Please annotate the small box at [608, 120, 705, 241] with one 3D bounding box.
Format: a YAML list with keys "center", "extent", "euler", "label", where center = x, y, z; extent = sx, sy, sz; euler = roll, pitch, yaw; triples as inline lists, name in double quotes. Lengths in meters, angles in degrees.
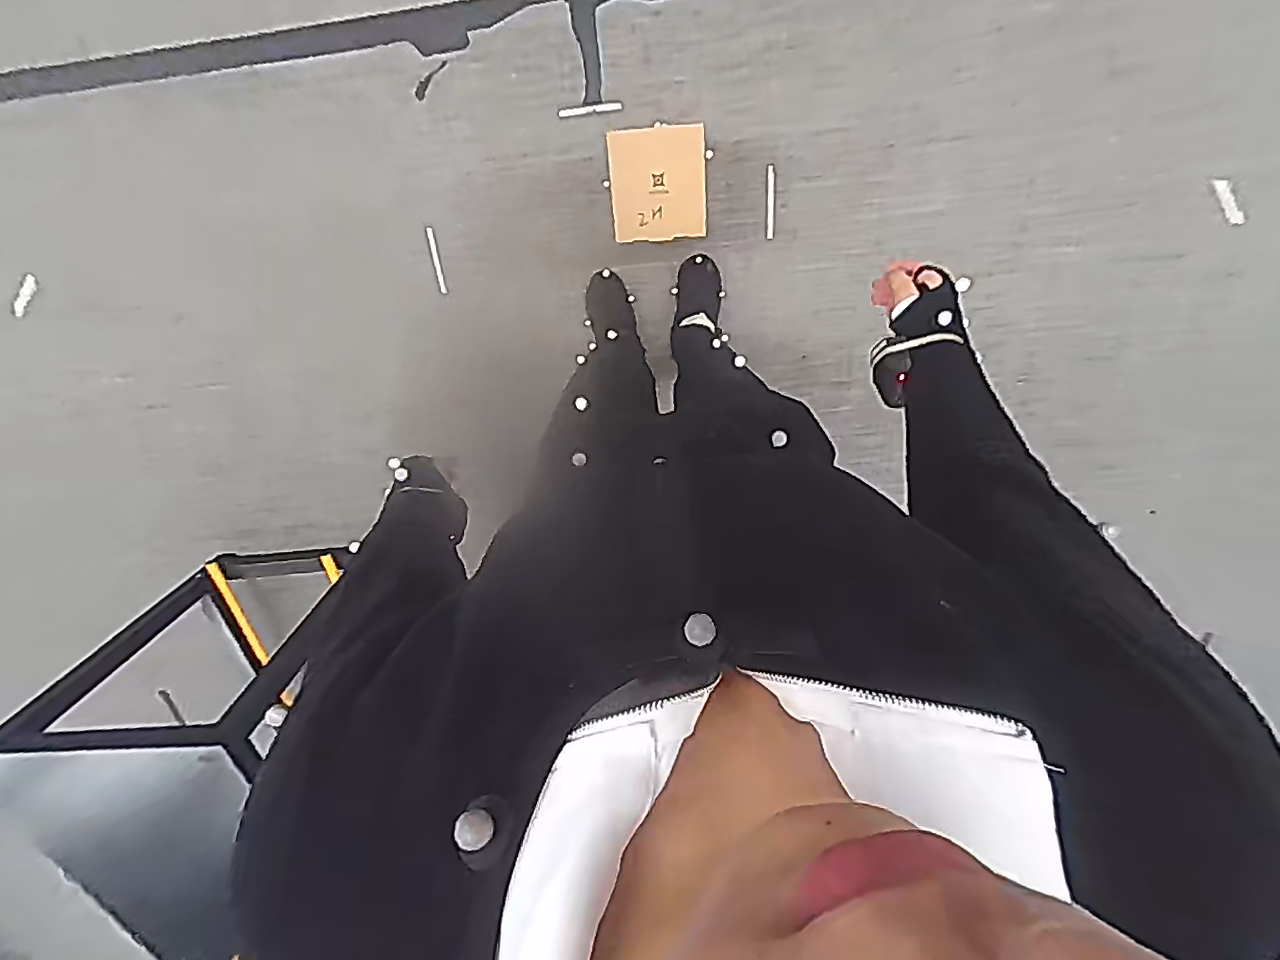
- center: [0.033, -0.551, 1.009]
  extent: [0.168, 0.176, 0.179]
  euler: [-3, 118, 4]
  label: "small box"
